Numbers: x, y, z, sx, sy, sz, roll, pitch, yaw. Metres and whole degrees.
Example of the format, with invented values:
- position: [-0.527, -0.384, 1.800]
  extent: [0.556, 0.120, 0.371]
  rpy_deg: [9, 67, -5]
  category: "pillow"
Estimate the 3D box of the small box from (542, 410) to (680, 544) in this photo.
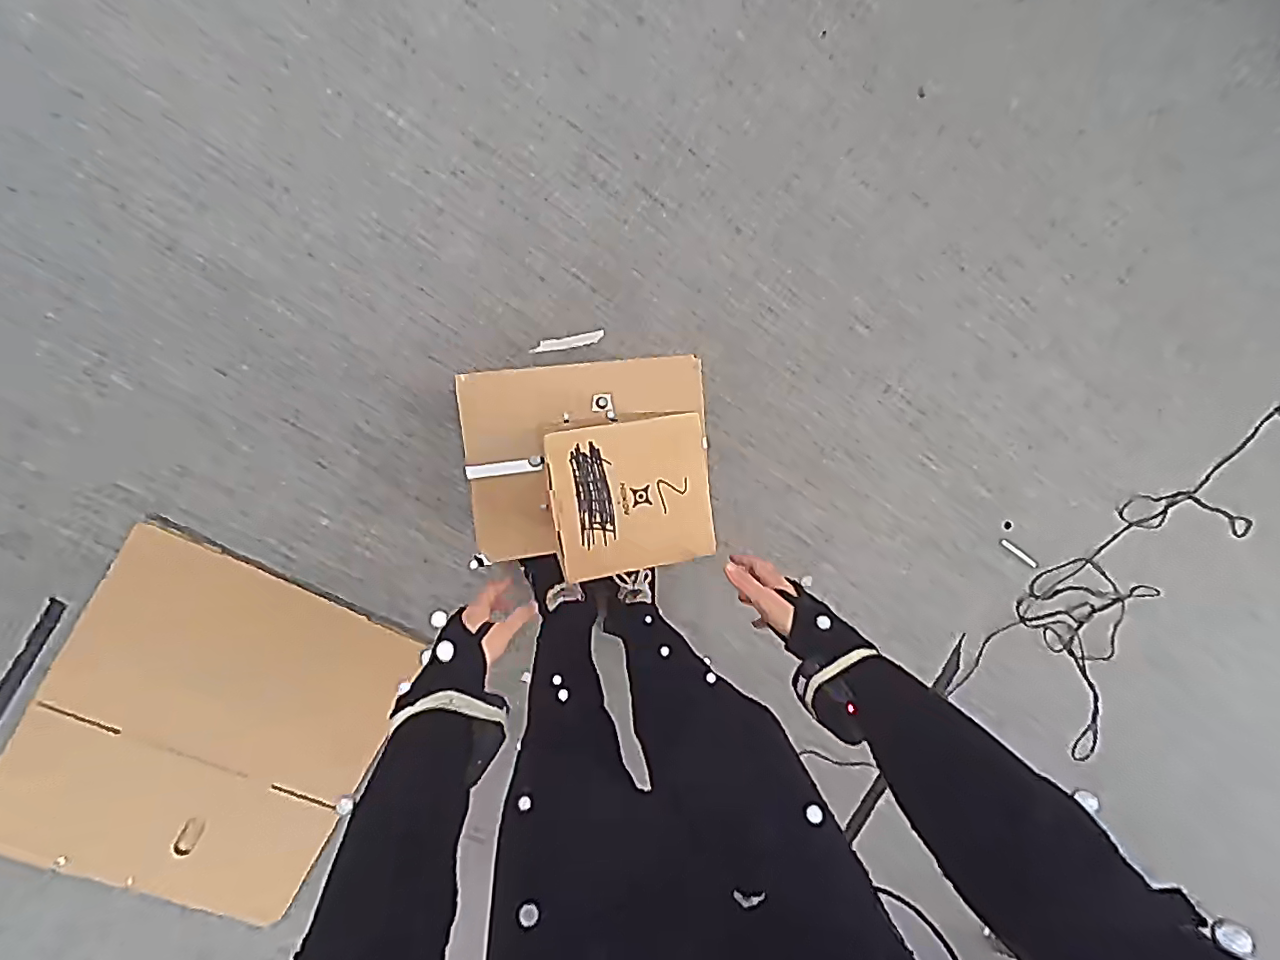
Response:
- position: [-0.053, -0.012, 0.827]
  extent: [0.179, 0.176, 0.168]
  rpy_deg: [-10, 99, -12]
  category: "small box"
